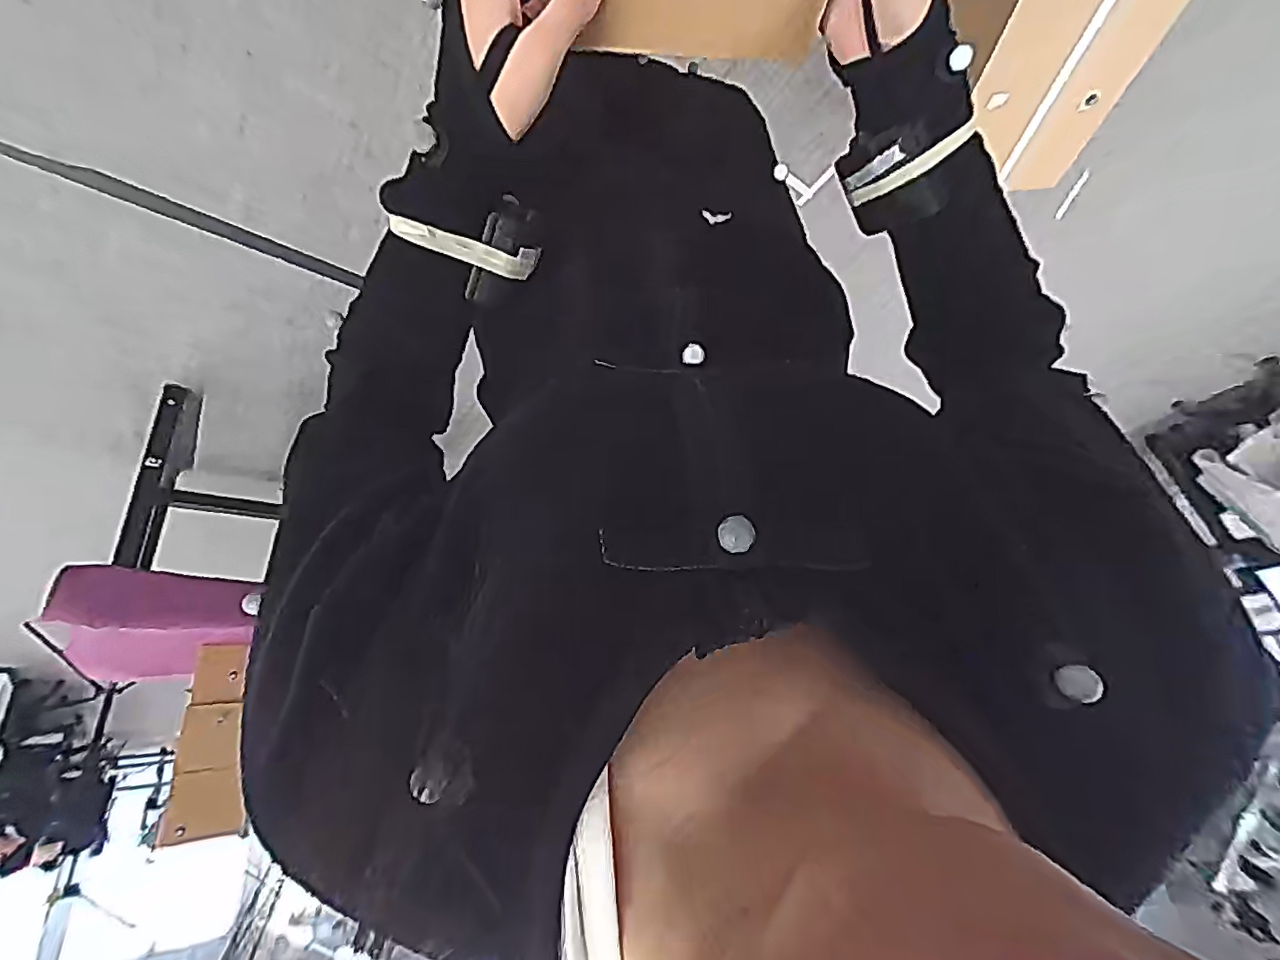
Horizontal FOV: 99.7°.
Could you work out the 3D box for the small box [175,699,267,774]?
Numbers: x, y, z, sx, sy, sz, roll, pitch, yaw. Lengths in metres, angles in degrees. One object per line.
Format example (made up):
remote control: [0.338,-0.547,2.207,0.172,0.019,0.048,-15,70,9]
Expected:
small box: [-1.180,0.726,1.528,0.179,0.176,0.168,10,147,-34]

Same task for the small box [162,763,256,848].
small box: [-1.158,0.872,1.459,0.179,0.176,0.168,10,147,-35]

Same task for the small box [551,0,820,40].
small box: [0.024,-0.384,0.289,0.168,0.176,0.179,-6,155,-11]
